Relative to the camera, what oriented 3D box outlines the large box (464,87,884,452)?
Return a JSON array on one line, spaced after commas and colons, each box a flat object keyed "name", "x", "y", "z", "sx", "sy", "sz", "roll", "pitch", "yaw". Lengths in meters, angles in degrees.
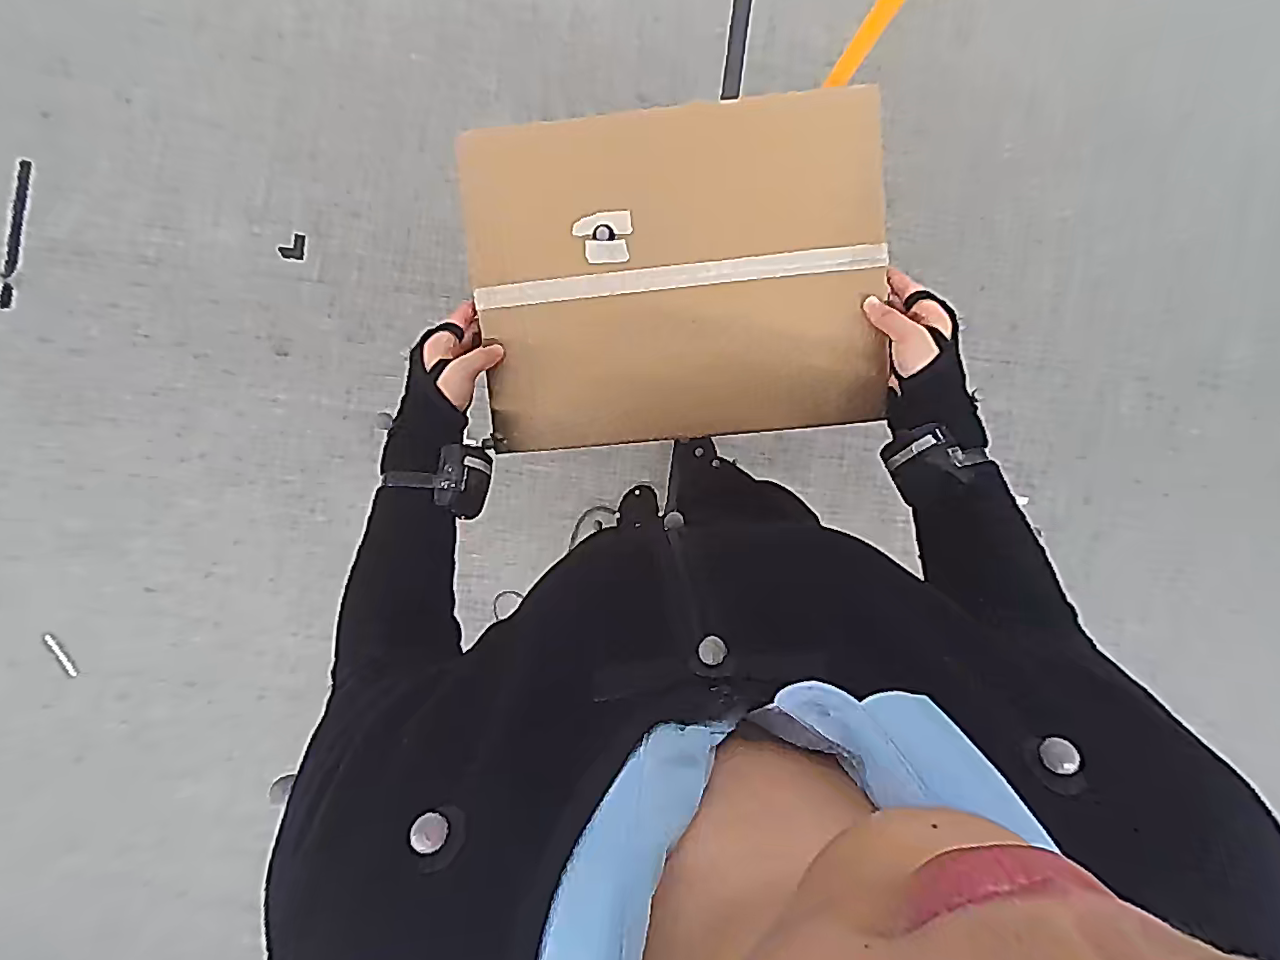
[{"name": "large box", "x": 0.046, "y": -0.224, "z": 0.694, "sx": 0.408, "sy": 0.320, "sz": 0.320, "roll": -6, "pitch": 97, "yaw": 4}]
